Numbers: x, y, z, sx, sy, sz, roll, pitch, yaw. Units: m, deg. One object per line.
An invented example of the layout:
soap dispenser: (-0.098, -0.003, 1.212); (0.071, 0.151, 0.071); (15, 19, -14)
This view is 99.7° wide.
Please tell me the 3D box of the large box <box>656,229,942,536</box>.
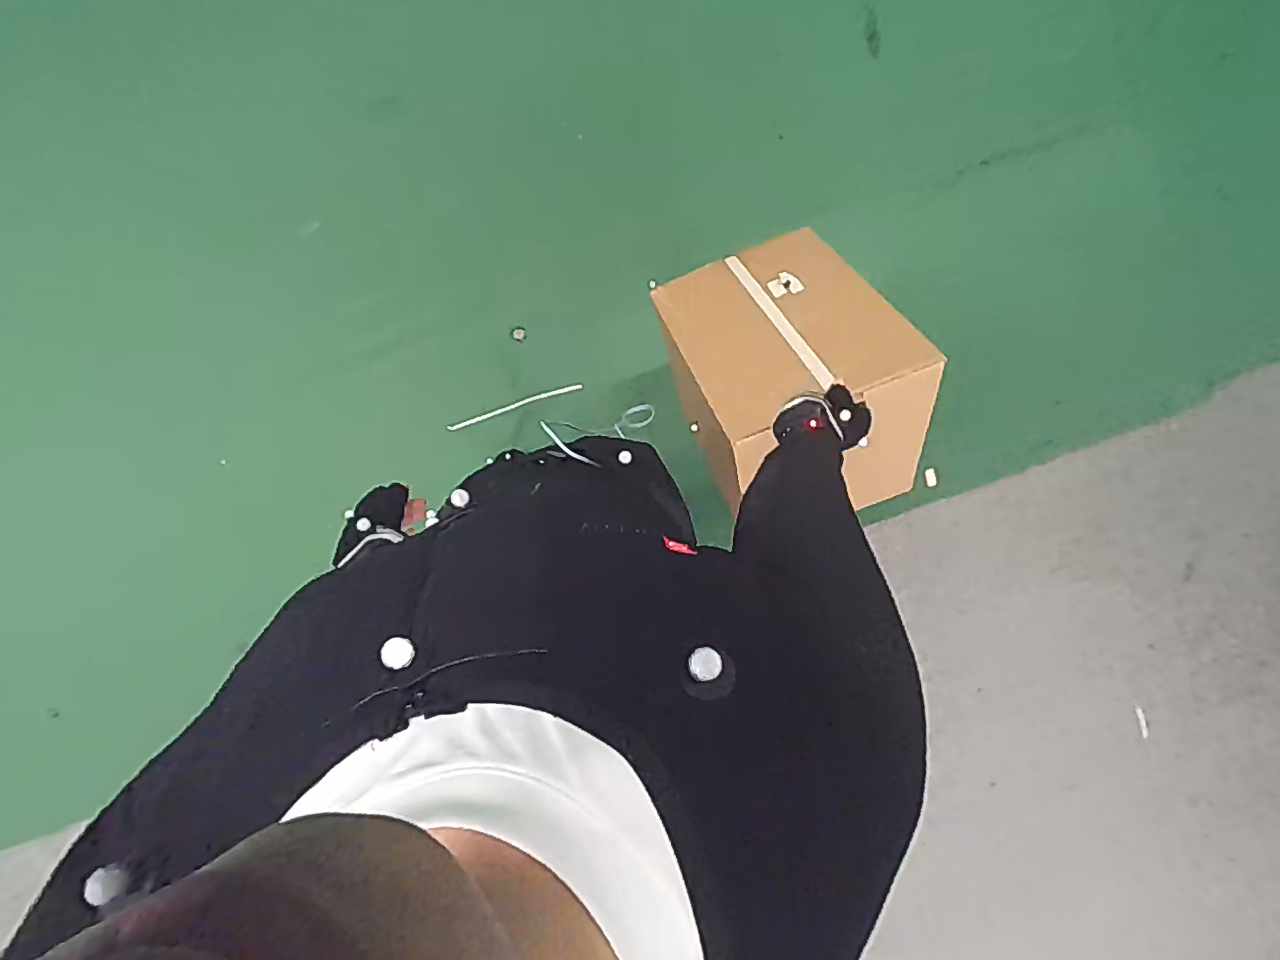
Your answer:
large box: (0.263, -0.176, 0.986); (0.320, 0.320, 0.408); (-21, 51, 1)
